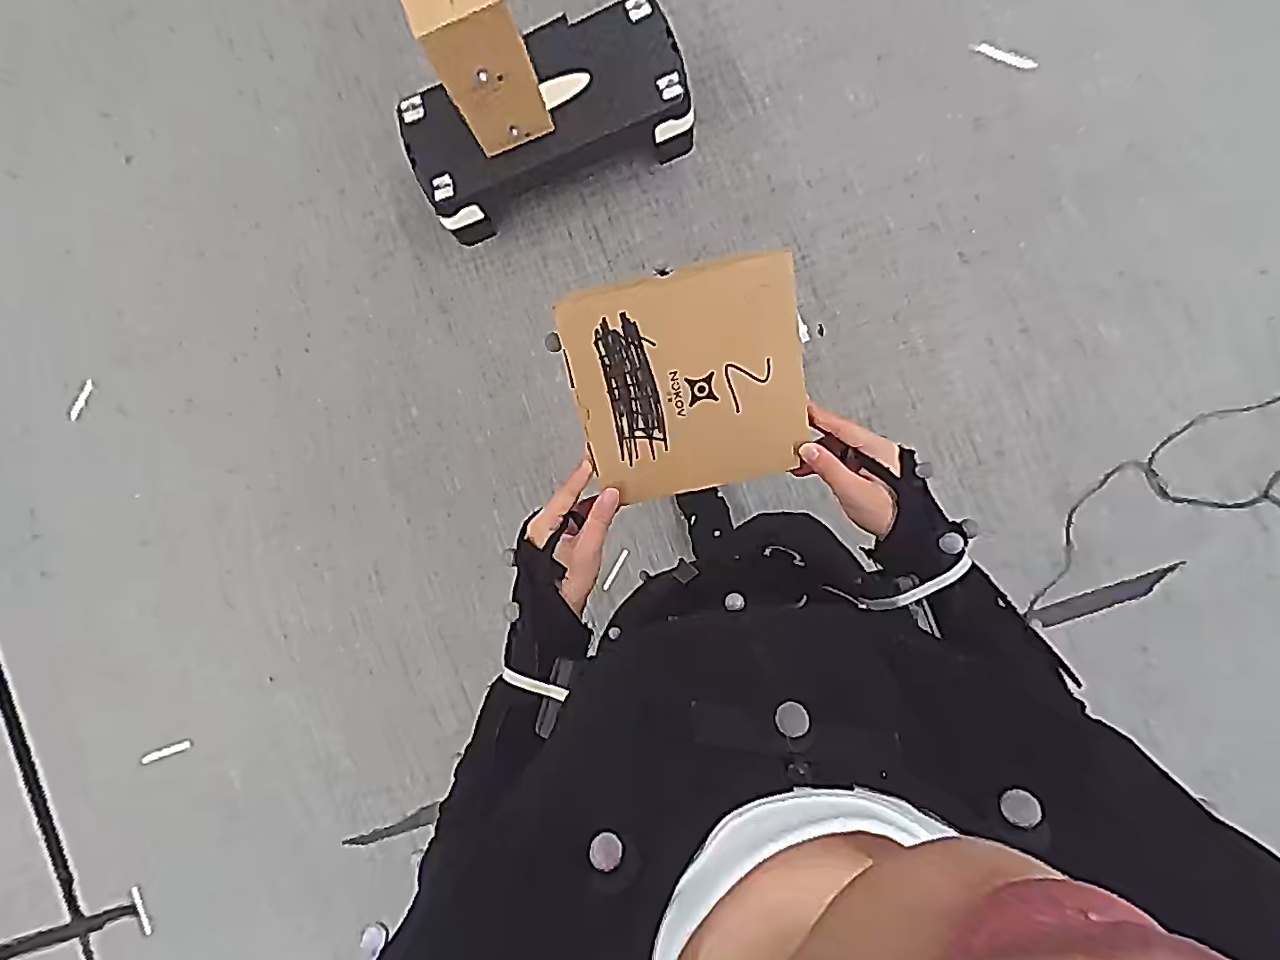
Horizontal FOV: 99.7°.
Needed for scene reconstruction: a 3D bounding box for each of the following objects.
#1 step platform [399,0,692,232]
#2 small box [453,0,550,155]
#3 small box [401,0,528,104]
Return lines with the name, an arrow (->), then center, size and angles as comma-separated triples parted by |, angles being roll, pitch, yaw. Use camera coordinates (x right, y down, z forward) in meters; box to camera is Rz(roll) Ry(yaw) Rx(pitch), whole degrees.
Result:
step platform -> -0.223, -0.888, 1.318 | 0.684, 0.204, 0.286 | -21, 87, 5
small box -> -0.309, -0.843, 1.150 | 0.168, 0.176, 0.179 | -20, 88, 5
small box -> -0.326, -0.847, 0.987 | 0.168, 0.176, 0.179 | -20, 88, 5
